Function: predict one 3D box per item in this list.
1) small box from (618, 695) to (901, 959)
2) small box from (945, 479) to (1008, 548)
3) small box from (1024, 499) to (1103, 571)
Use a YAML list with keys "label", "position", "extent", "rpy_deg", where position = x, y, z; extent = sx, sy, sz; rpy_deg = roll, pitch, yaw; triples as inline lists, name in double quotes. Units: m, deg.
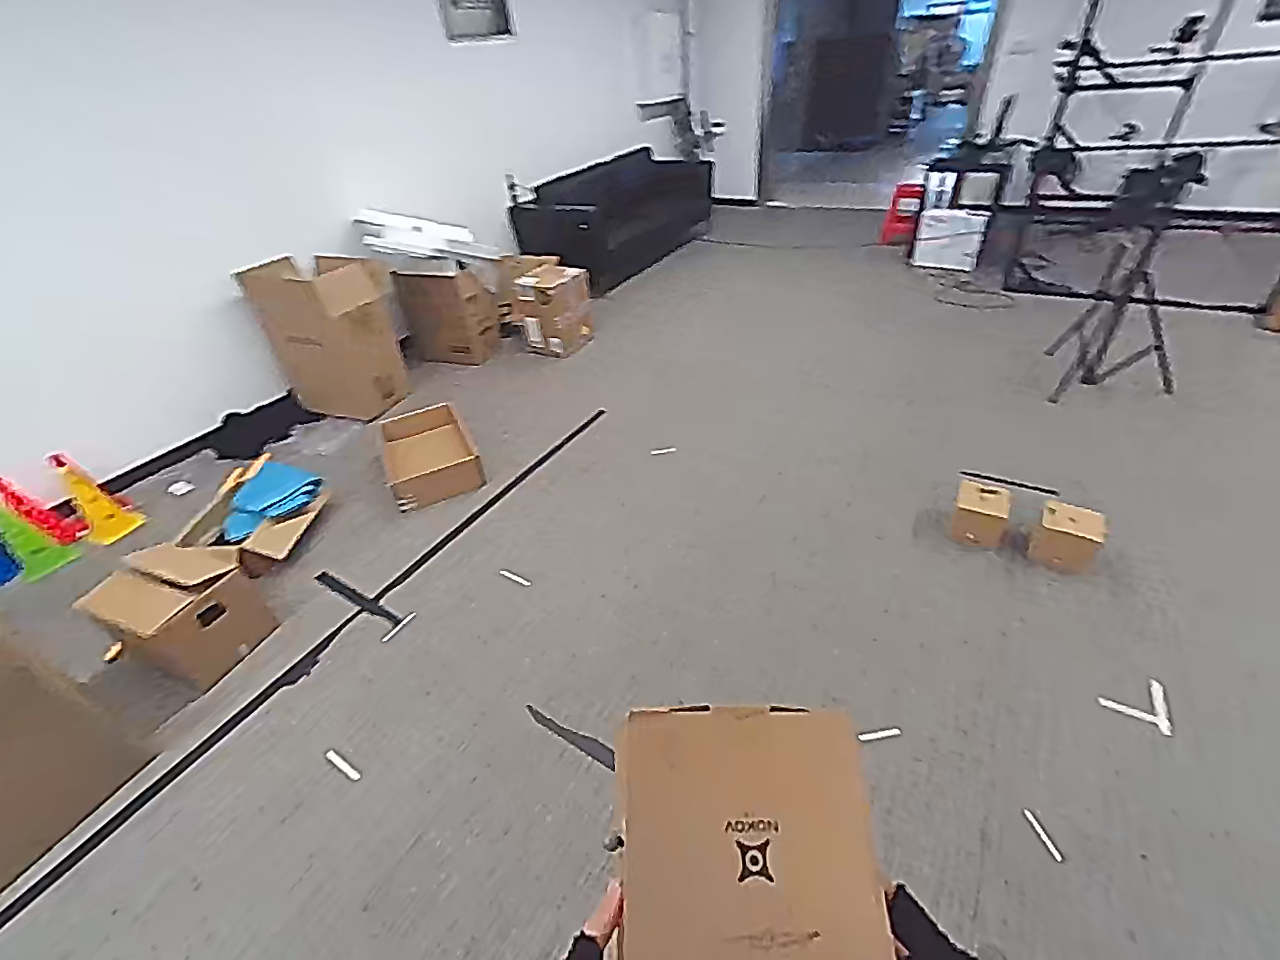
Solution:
- label: "small box"
  position: [0.070, 0.274, 0.416]
  extent: [0.168, 0.176, 0.179]
  rpy_deg: [3, 61, -3]
- label: "small box"
  position: [1.290, 0.129, 2.076]
  extent: [0.168, 0.176, 0.179]
  rpy_deg: [16, 44, 27]
- label: "small box"
  position: [1.526, 0.202, 1.950]
  extent: [0.179, 0.176, 0.168]
  rpy_deg: [20, 45, 29]
